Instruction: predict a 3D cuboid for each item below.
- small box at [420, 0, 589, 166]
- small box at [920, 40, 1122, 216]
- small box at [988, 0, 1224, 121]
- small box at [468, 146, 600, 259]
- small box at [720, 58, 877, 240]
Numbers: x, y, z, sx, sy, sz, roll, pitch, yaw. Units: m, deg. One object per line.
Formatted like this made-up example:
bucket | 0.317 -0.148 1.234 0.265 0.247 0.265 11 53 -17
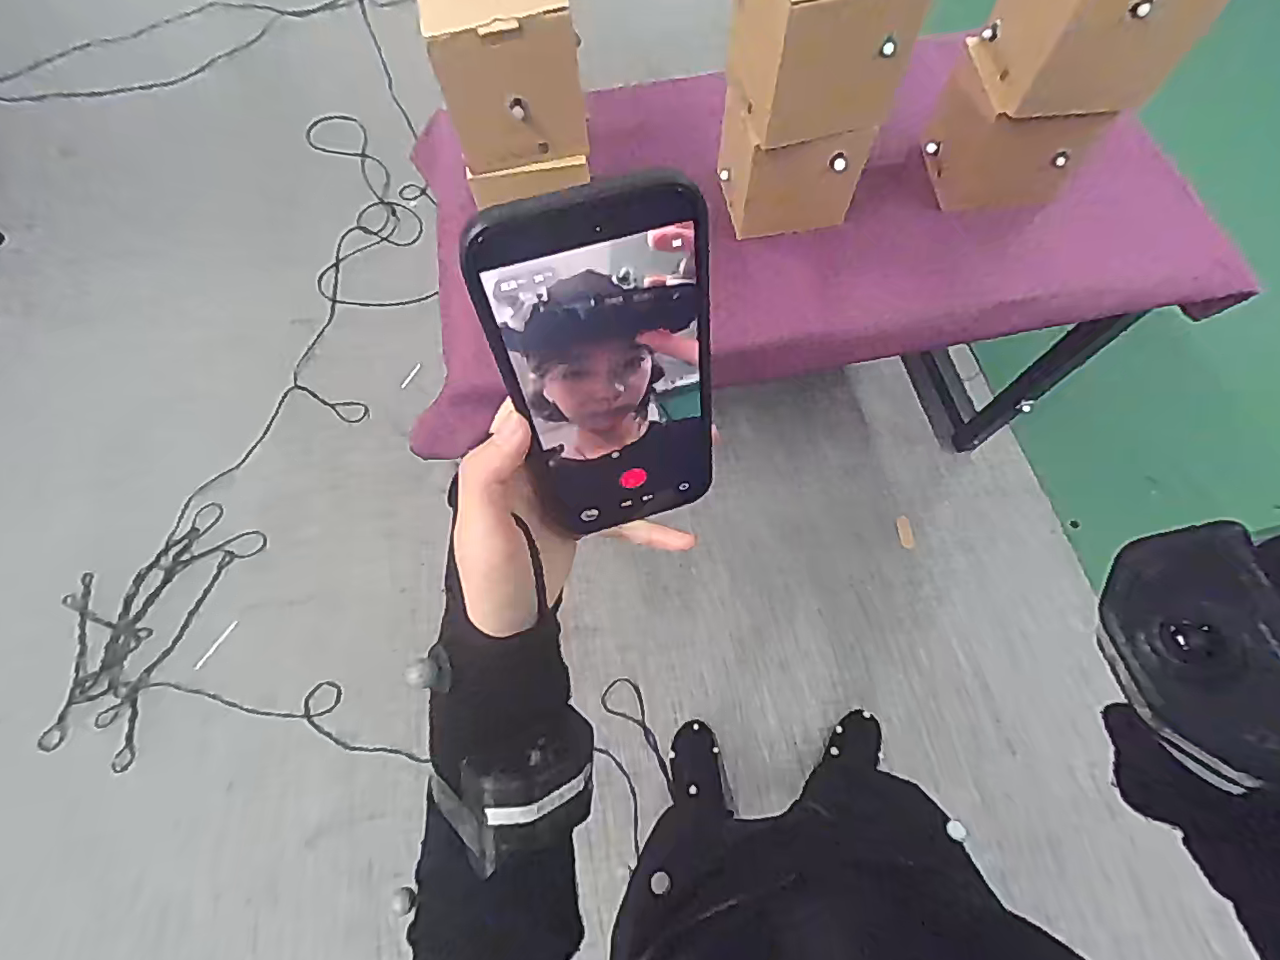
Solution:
small box | -0.166 -0.533 0.690 0.168 0.176 0.179 -12 69 -3
small box | 0.569 -0.535 0.834 0.179 0.176 0.168 -2 68 2
small box | 0.573 -0.582 0.676 0.179 0.176 0.168 -2 68 1
small box | -0.158 -0.465 0.839 0.168 0.176 0.179 -8 68 0
small box | 0.231 -0.501 0.834 0.179 0.176 0.168 -8 68 -1
